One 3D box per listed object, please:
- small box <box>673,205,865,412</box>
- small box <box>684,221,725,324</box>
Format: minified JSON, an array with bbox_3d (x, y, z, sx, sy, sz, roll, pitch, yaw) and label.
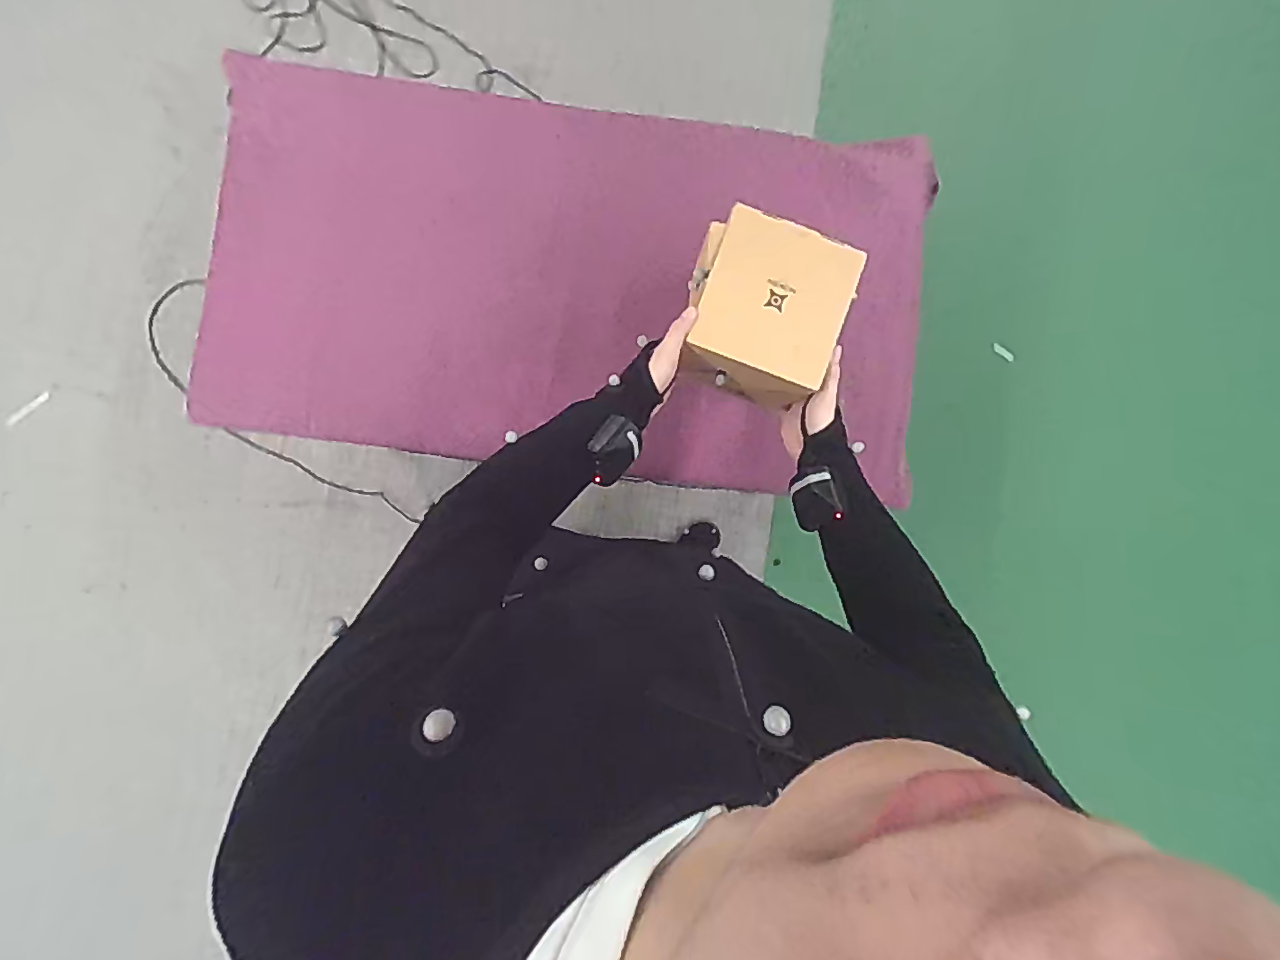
[{"bbox_3d":[0.148,-0.200,0.687,0.168,0.176,0.179,21,87,-2],"label":"small box"},{"bbox_3d":[0.162,-0.271,0.854,0.168,0.176,0.179,8,88,-3],"label":"small box"}]
